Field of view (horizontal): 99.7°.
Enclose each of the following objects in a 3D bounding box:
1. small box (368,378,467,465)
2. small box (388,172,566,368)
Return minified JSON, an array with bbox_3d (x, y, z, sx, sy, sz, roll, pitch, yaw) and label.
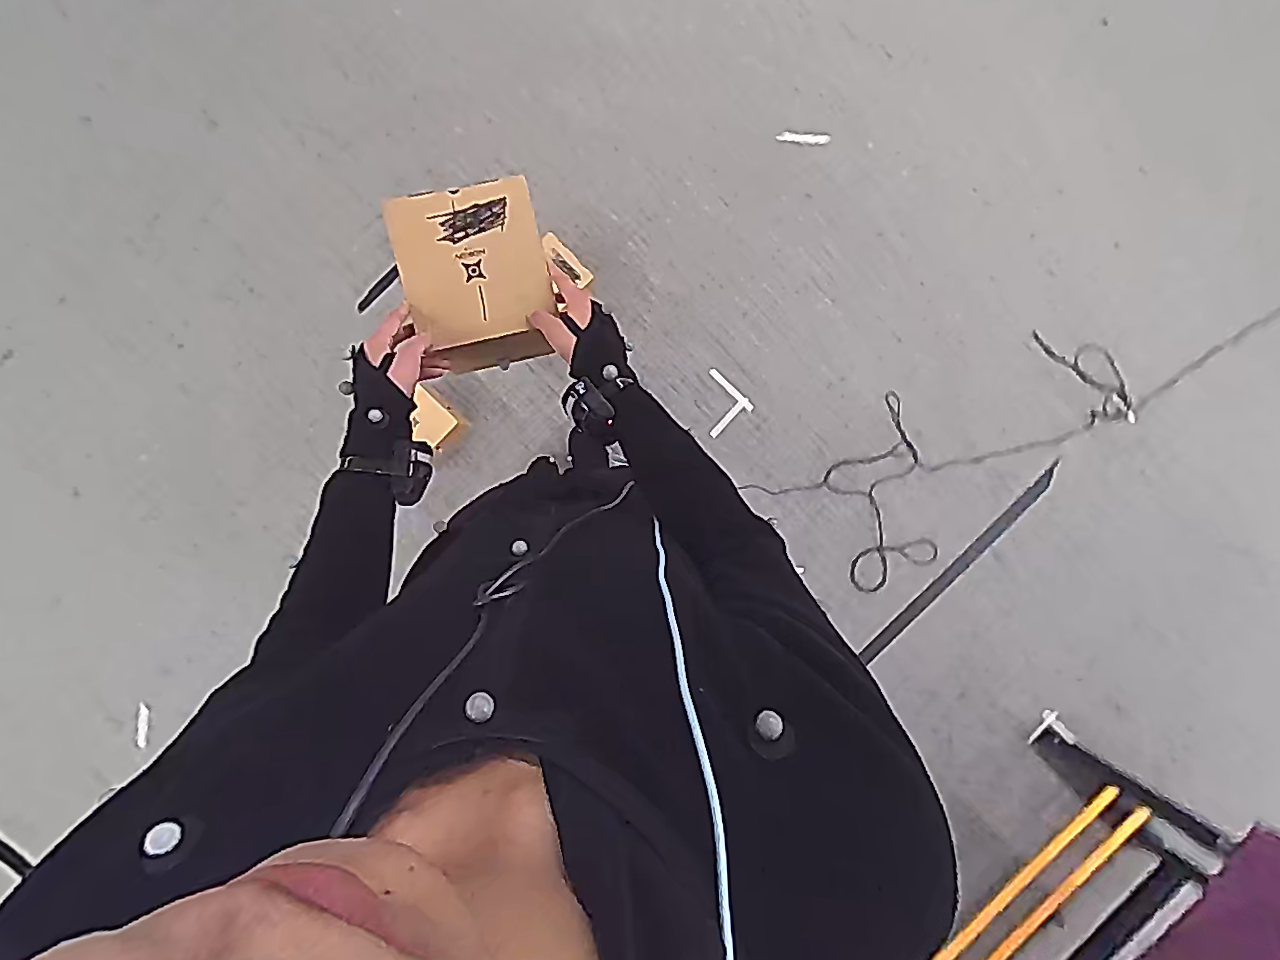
[{"bbox_3d":[-0.606,-0.161,1.506,0.168,0.176,0.179,44,90,-6],"label":"small box"},{"bbox_3d":[-0.194,-0.255,0.693,0.168,0.176,0.179,-13,95,-5],"label":"small box"}]
